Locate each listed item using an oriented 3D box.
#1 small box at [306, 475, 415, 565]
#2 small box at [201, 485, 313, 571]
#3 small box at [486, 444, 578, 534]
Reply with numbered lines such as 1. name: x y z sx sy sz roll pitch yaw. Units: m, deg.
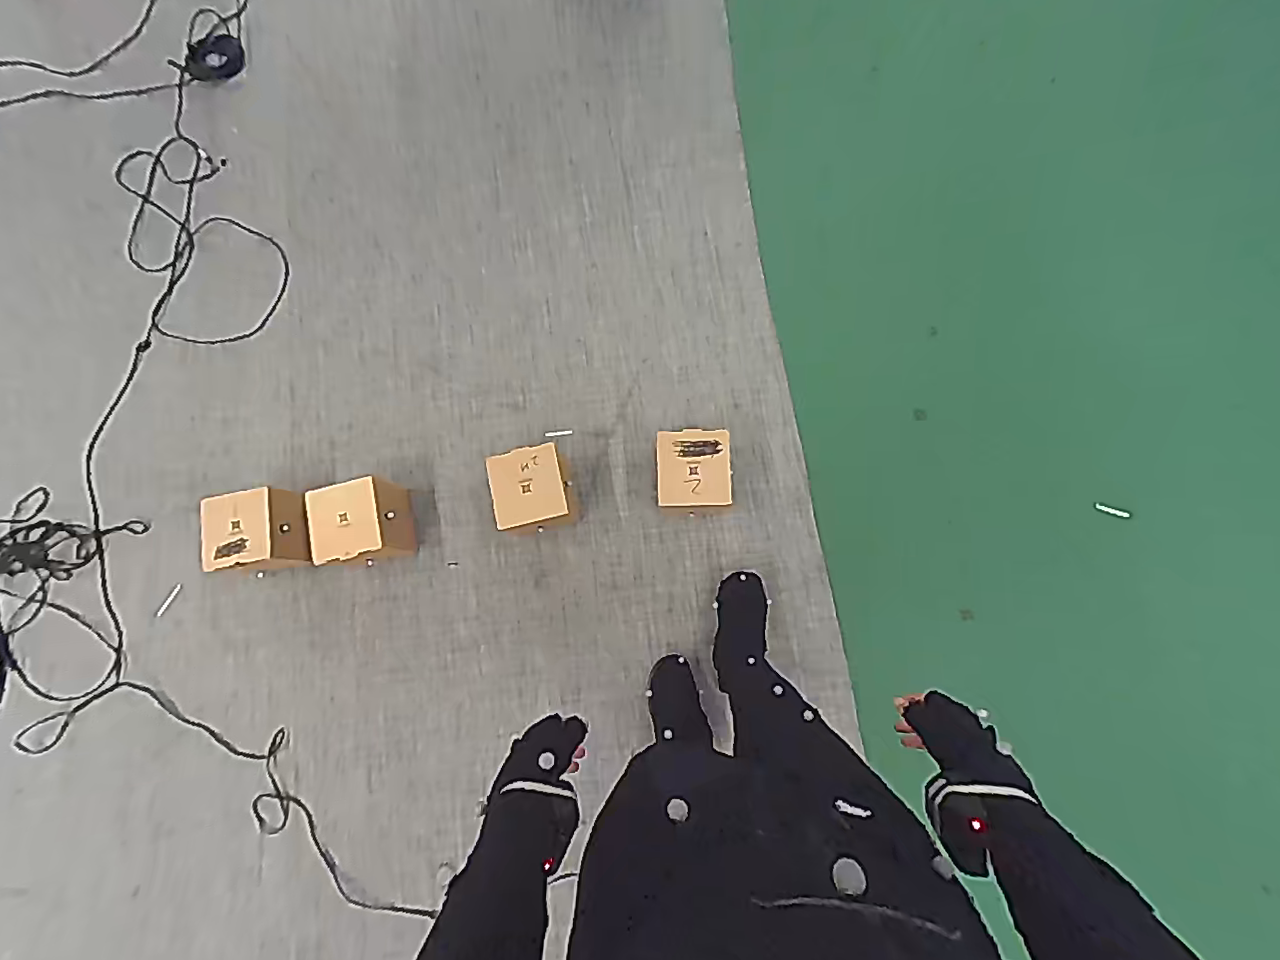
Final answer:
1. small box: -0.672 0.104 1.314 0.168 0.176 0.179 -14 79 1
2. small box: -0.927 0.124 1.325 0.168 0.176 0.179 -11 78 1
3. small box: -0.252 0.031 1.302 0.168 0.176 0.179 -13 79 0
